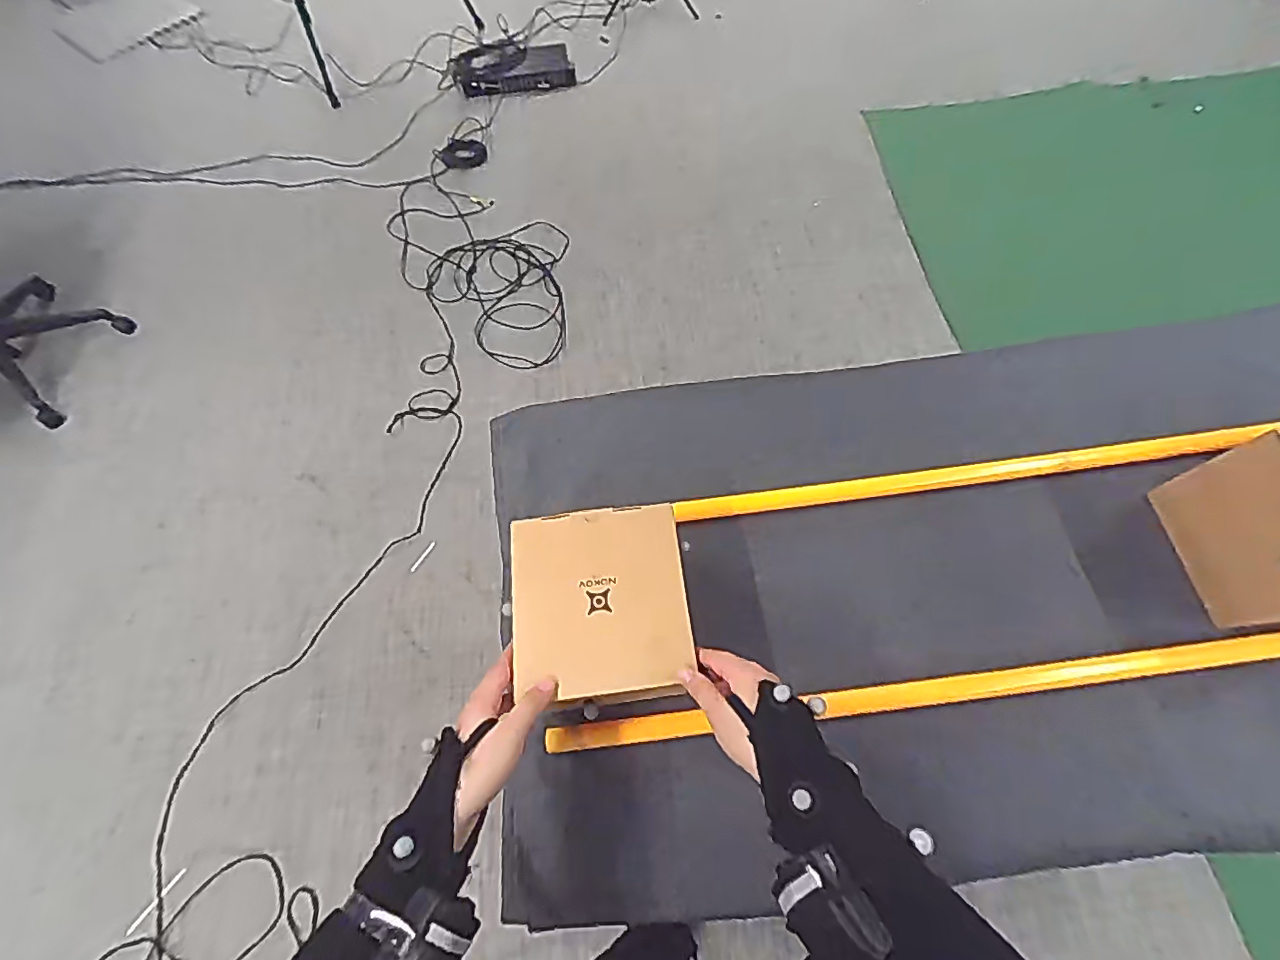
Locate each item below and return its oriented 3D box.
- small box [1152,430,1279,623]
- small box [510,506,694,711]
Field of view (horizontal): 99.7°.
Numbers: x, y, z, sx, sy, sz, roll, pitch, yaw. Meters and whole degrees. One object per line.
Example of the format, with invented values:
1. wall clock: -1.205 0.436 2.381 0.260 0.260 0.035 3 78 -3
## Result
1. small box: 0.732 0.055 0.586 0.168 0.176 0.179 -4 65 2
2. small box: -0.039 0.147 0.581 0.168 0.176 0.179 -7 64 -3
